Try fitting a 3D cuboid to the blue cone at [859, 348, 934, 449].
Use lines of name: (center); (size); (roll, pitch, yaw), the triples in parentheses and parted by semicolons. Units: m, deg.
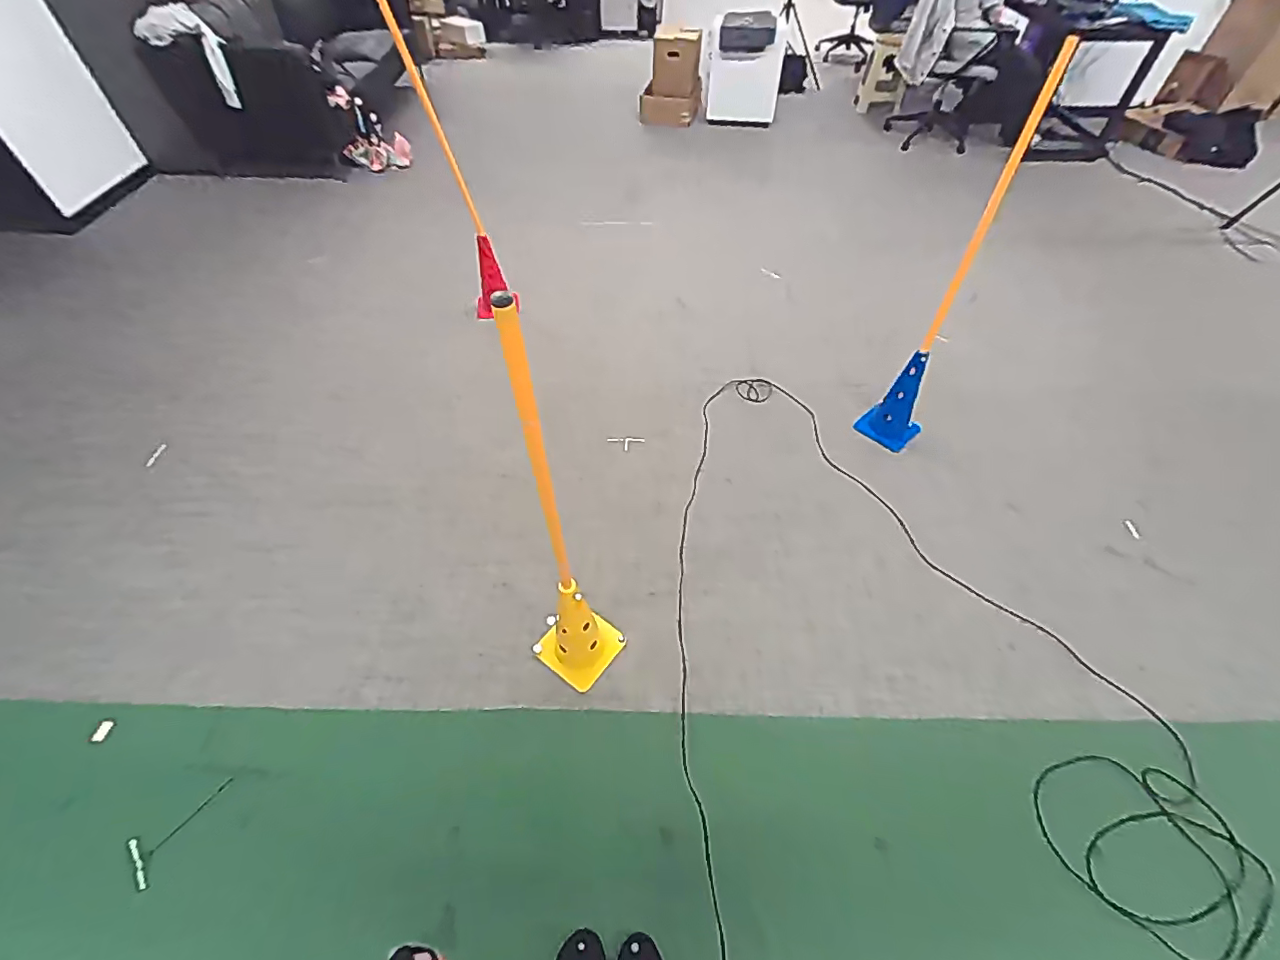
blue cone: (0.965, -0.317, 1.968); (0.193, 0.380, 0.192); (-36, 58, -29)
